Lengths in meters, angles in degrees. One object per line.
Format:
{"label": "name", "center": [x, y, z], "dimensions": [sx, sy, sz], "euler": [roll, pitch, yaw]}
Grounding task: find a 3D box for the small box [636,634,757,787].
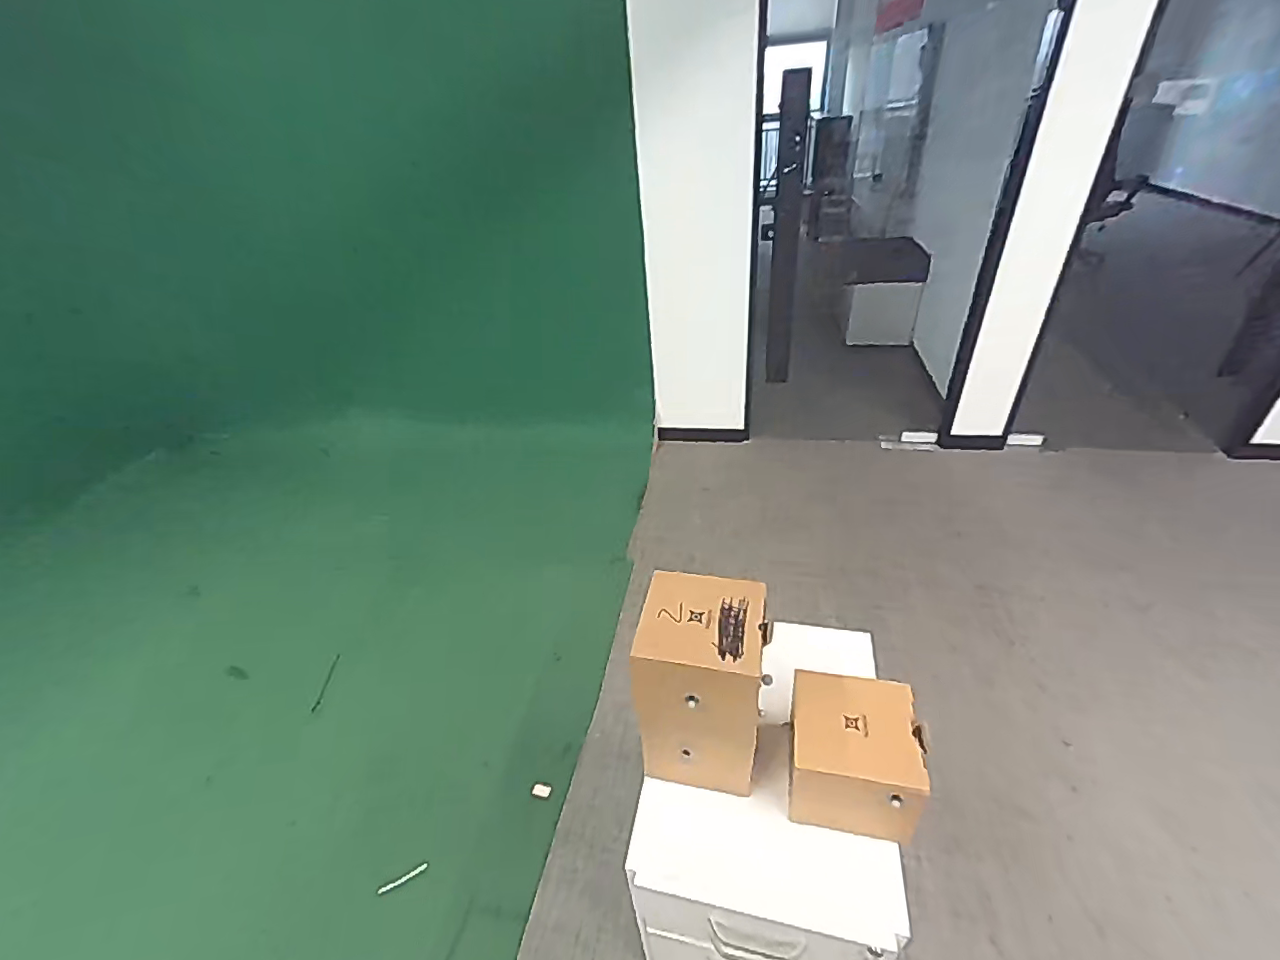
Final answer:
{"label": "small box", "center": [0.101, 0.388, 0.912], "dimensions": [0.179, 0.176, 0.168], "euler": [5, 37, 12]}
